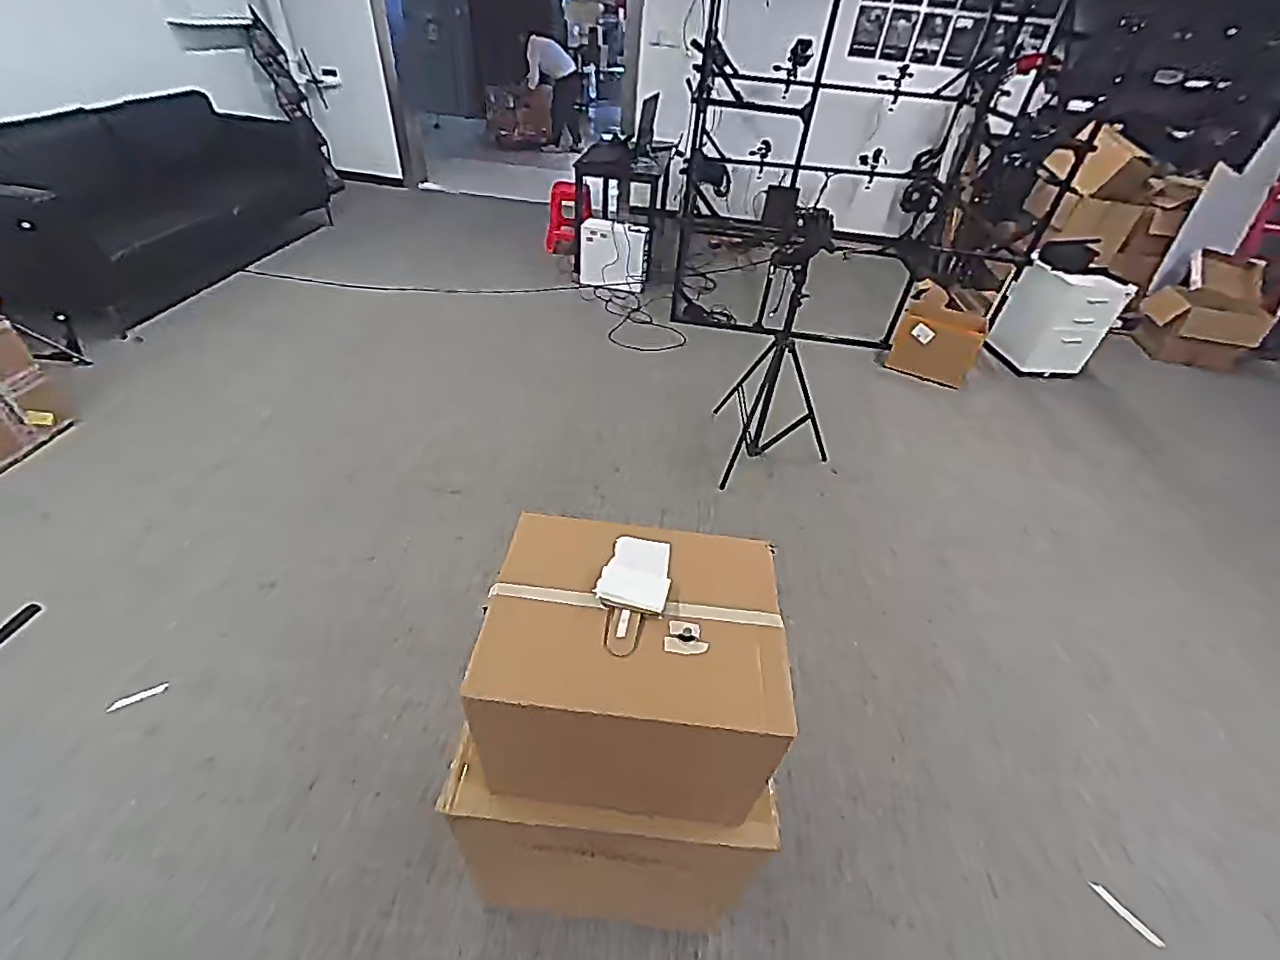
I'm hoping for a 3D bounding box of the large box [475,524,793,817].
[{"bbox_3d":[-0.013,0.302,0.867,0.408,0.320,0.320,7,41,0],"label":"large box"}]
